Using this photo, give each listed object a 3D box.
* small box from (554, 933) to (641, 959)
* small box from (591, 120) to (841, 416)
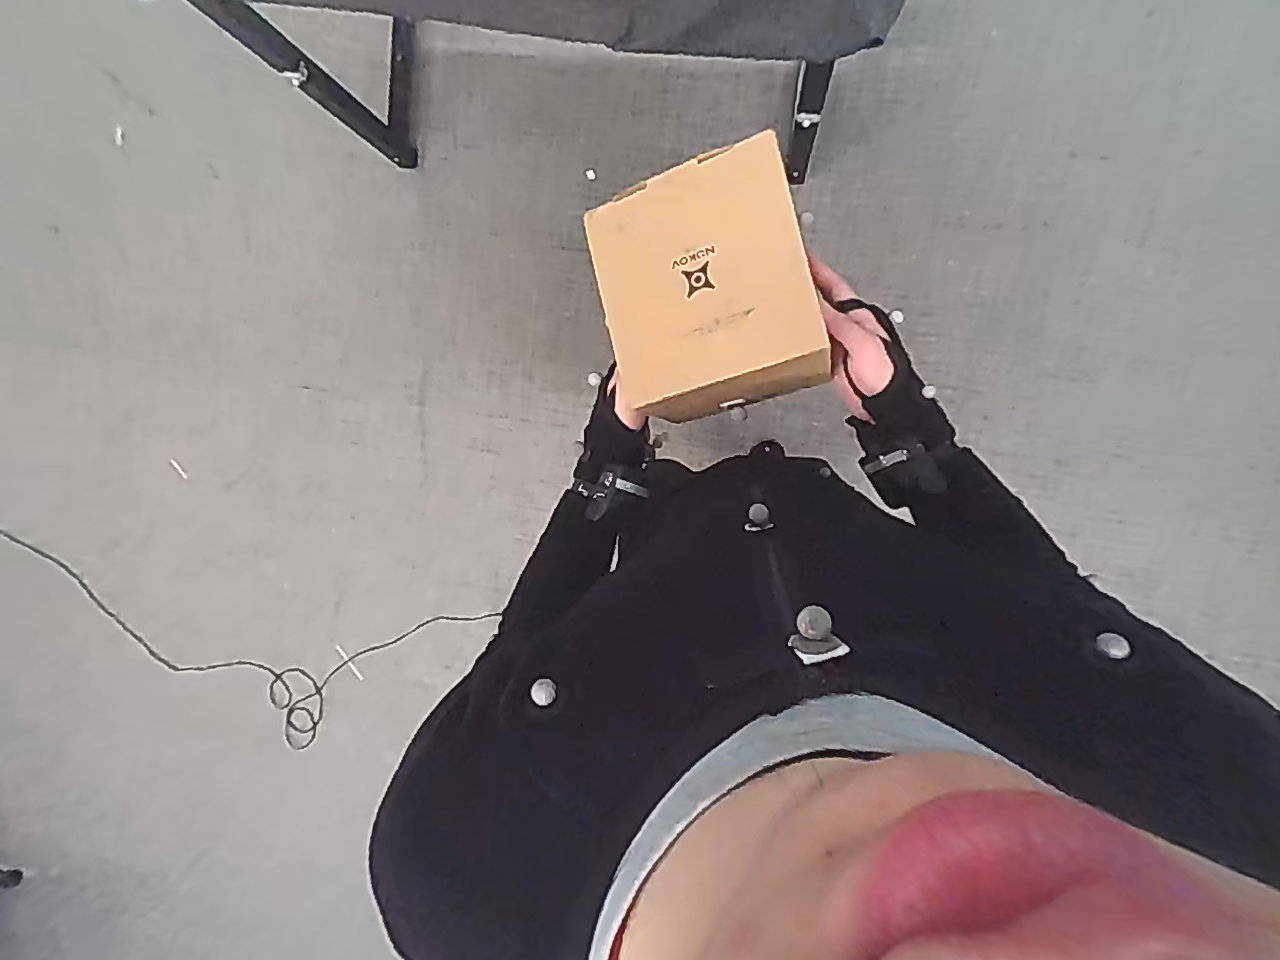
[{"bbox_3d":[-0.089,1.003,1.001,0.168,0.176,0.179,1,97,9],"label":"small box"},{"bbox_3d":[0.077,-0.169,0.498,0.168,0.176,0.179,-16,86,19],"label":"small box"}]
